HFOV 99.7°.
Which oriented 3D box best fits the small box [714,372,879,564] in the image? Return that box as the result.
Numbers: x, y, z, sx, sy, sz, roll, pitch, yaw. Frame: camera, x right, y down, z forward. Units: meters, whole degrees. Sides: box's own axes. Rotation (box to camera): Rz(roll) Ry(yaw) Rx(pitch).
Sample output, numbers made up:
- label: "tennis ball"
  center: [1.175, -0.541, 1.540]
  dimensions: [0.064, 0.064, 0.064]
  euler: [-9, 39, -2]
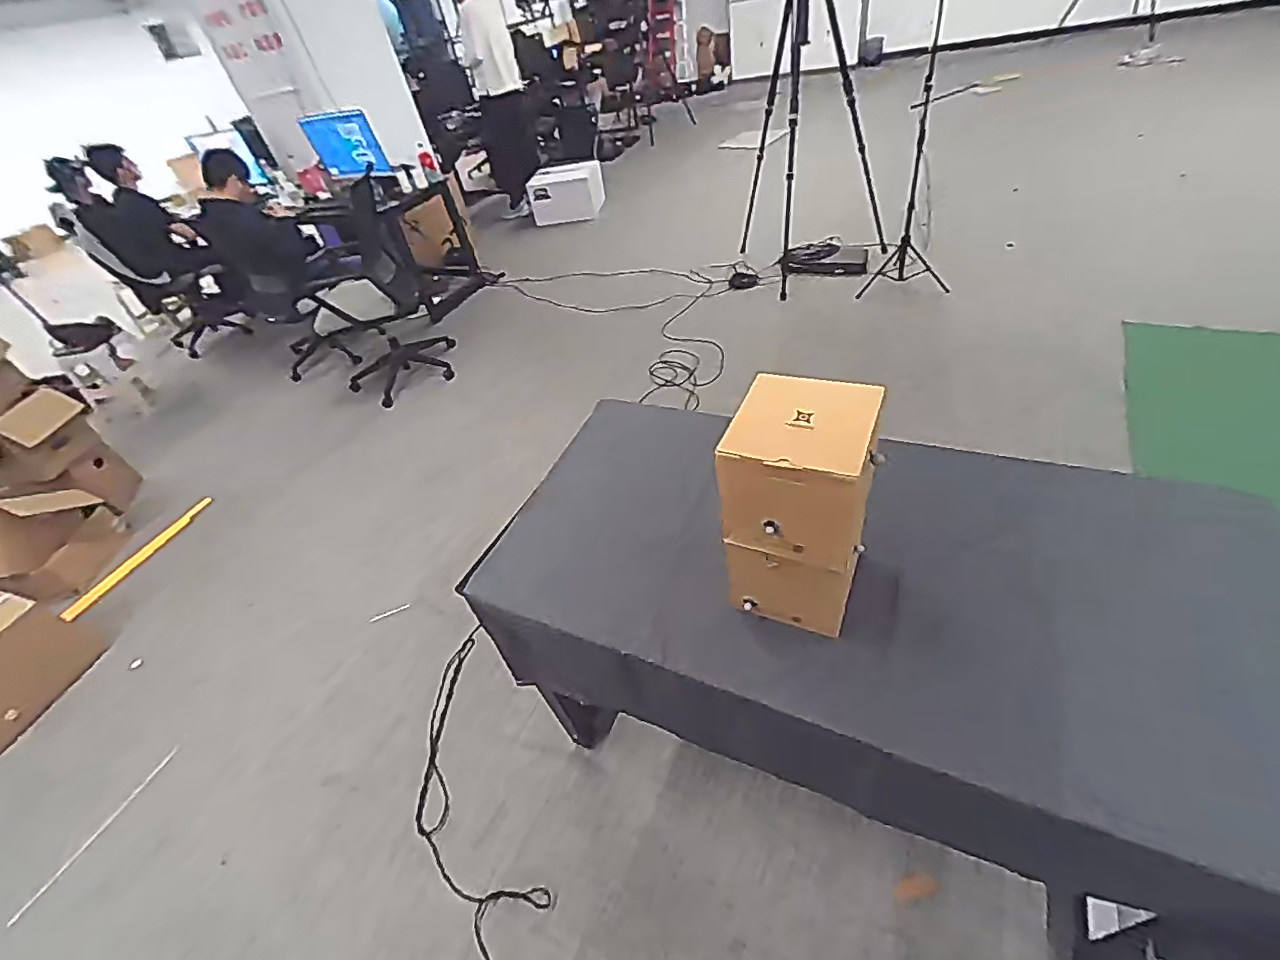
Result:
- label: "small box"
  center: [0.208, -0.020, 0.724]
  dimensions: [0.168, 0.176, 0.179]
  euler: [12, 49, 25]

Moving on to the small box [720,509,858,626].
- label: "small box"
  center: [0.236, 0.095, 0.835]
  dimensions: [0.168, 0.176, 0.179]
  euler: [11, 47, 25]
